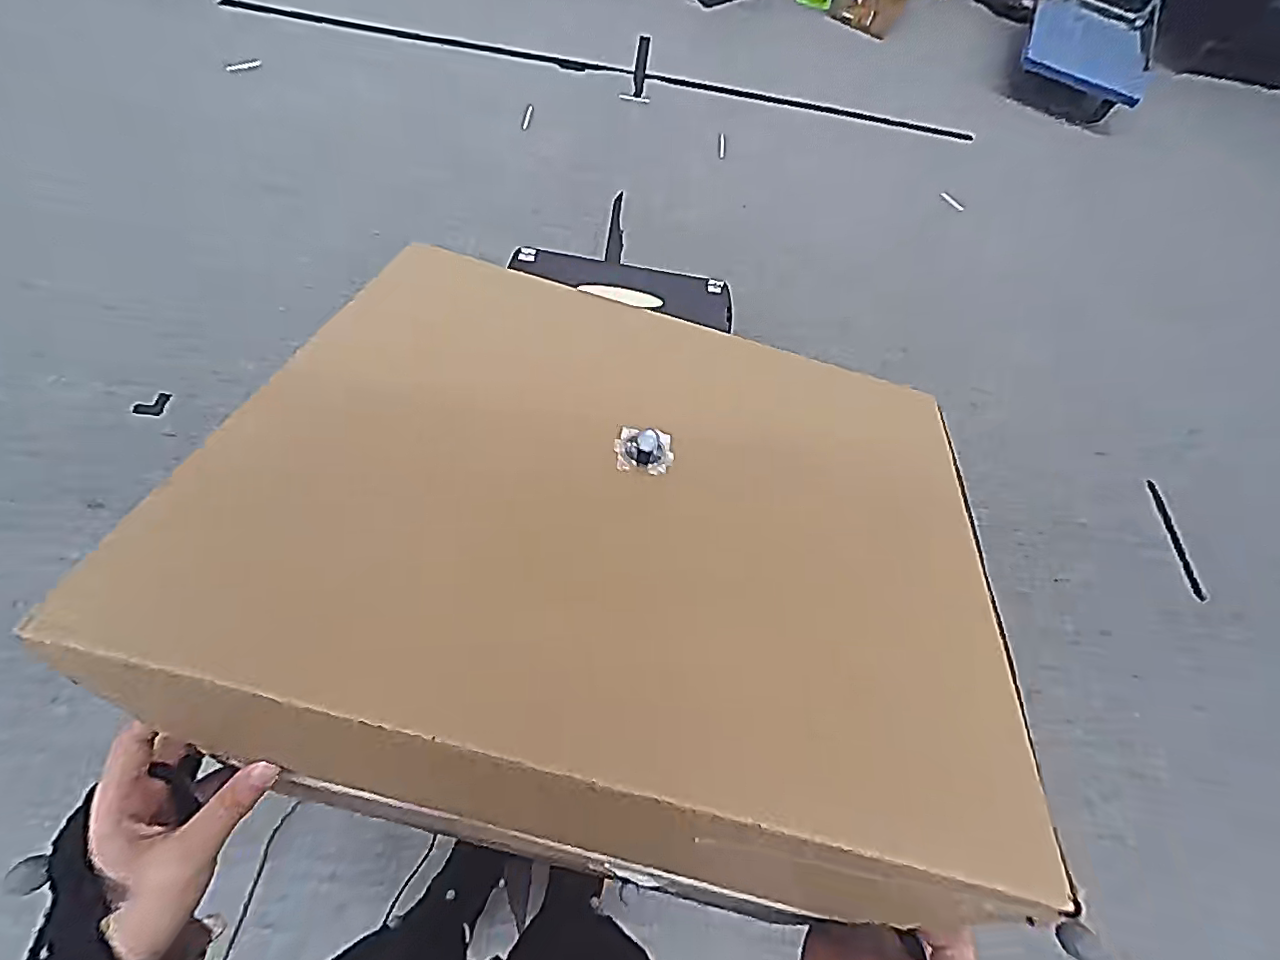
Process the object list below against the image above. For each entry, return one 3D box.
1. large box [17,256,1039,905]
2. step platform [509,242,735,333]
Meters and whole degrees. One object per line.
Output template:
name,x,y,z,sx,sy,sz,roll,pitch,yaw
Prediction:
large box,-0.042,0.082,0.410,0.408,0.320,0.320,14,51,-2
step platform,-0.060,-0.488,1.630,0.684,0.204,0.286,13,63,-3
